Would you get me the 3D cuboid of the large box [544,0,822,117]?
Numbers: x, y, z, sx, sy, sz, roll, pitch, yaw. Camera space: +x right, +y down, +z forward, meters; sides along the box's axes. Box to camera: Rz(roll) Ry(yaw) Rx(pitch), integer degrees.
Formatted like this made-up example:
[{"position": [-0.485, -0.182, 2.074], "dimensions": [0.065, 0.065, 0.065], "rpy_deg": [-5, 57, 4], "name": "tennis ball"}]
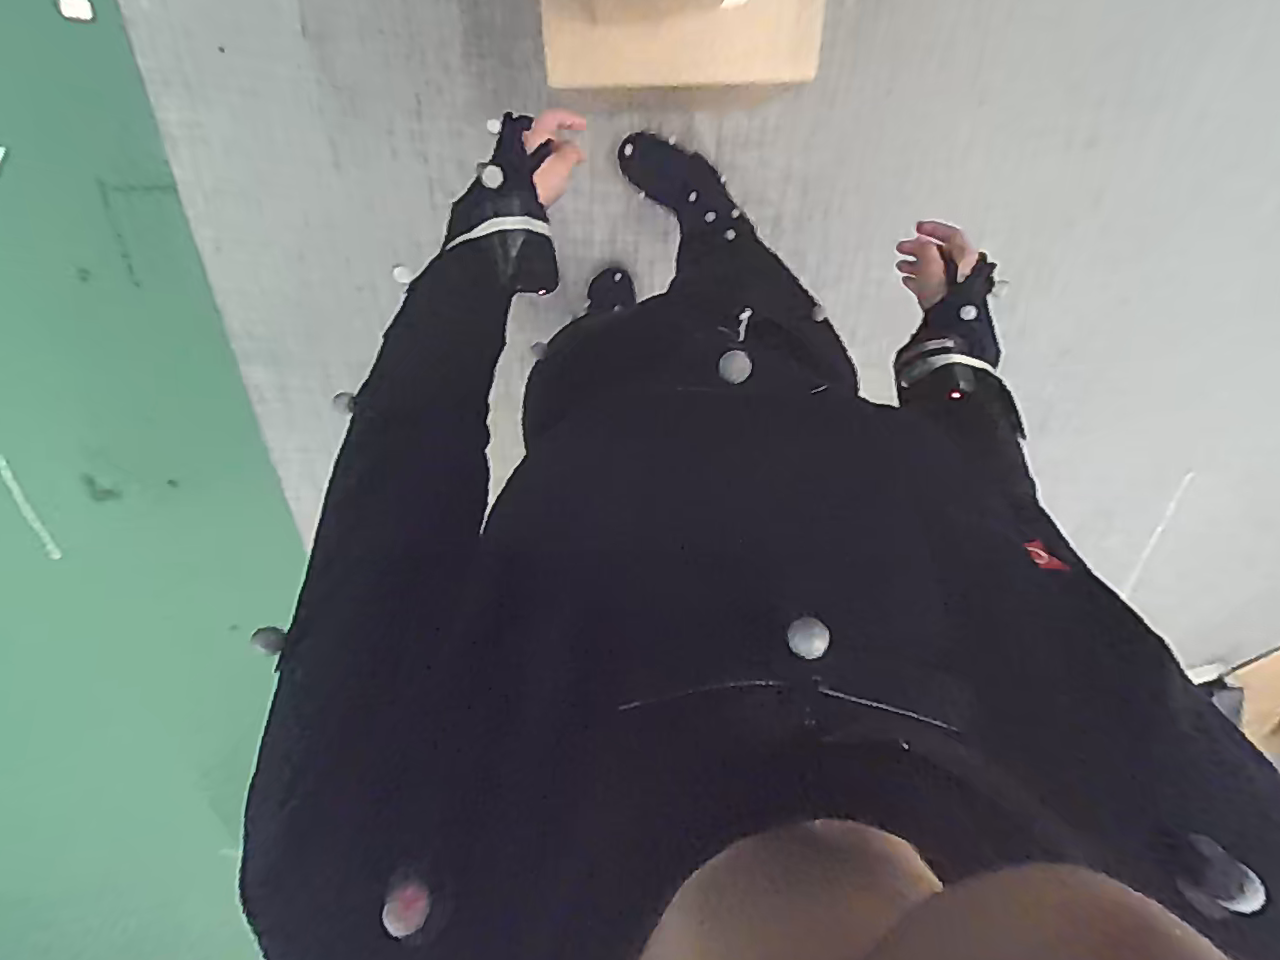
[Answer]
[{"position": [0.049, -0.794, 0.867], "dimensions": [0.408, 0.320, 0.320], "rpy_deg": [-4, 119, -3], "name": "large box"}]
